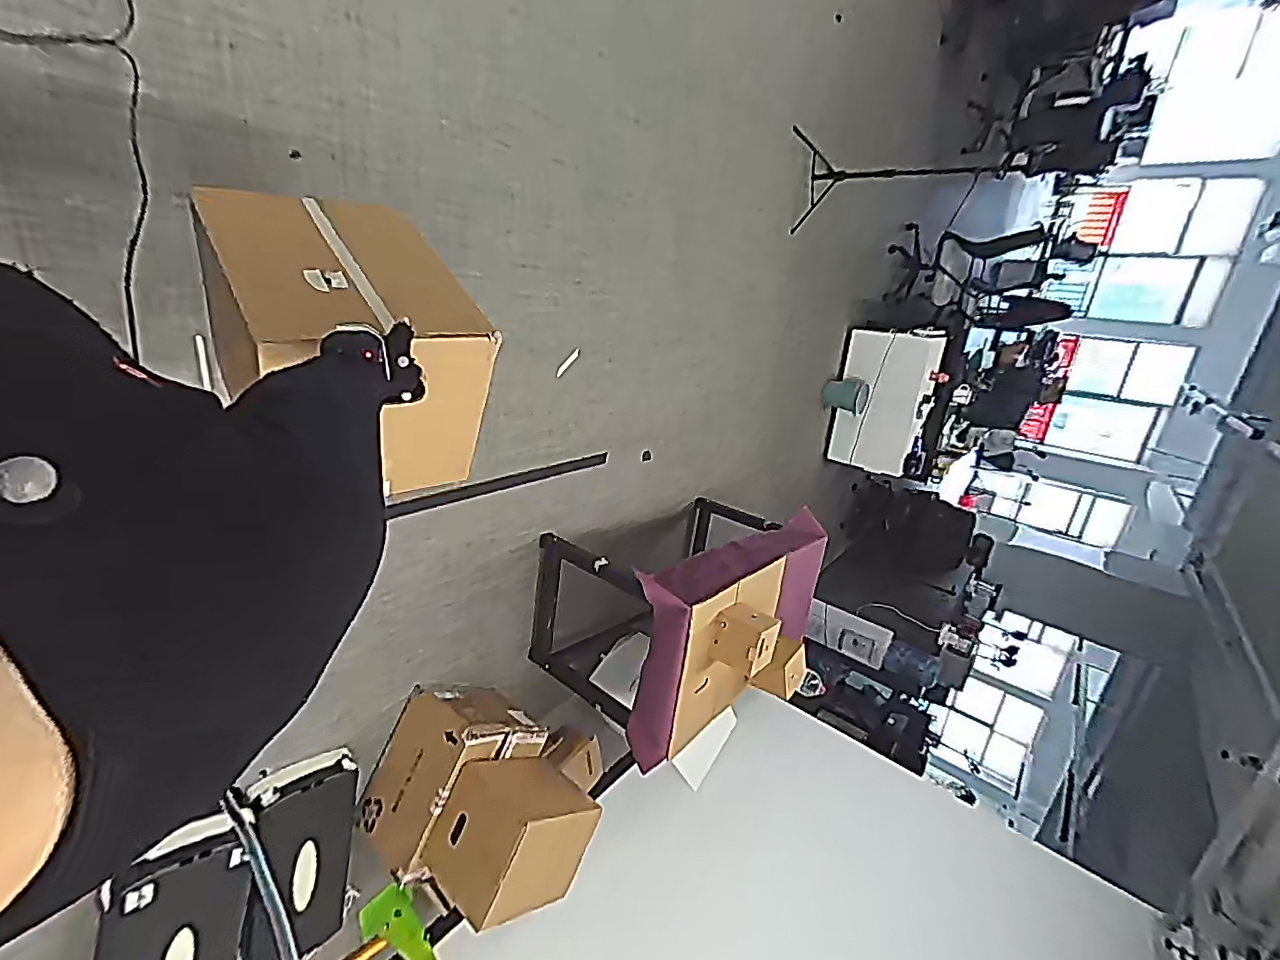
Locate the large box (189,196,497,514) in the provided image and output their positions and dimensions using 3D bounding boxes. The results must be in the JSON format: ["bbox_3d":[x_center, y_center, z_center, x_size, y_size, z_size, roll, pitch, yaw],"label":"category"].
[{"bbox_3d":[-0.503,-0.214,0.916,0.320,0.408,0.320,-17,147,-40],"label":"large box"}]
